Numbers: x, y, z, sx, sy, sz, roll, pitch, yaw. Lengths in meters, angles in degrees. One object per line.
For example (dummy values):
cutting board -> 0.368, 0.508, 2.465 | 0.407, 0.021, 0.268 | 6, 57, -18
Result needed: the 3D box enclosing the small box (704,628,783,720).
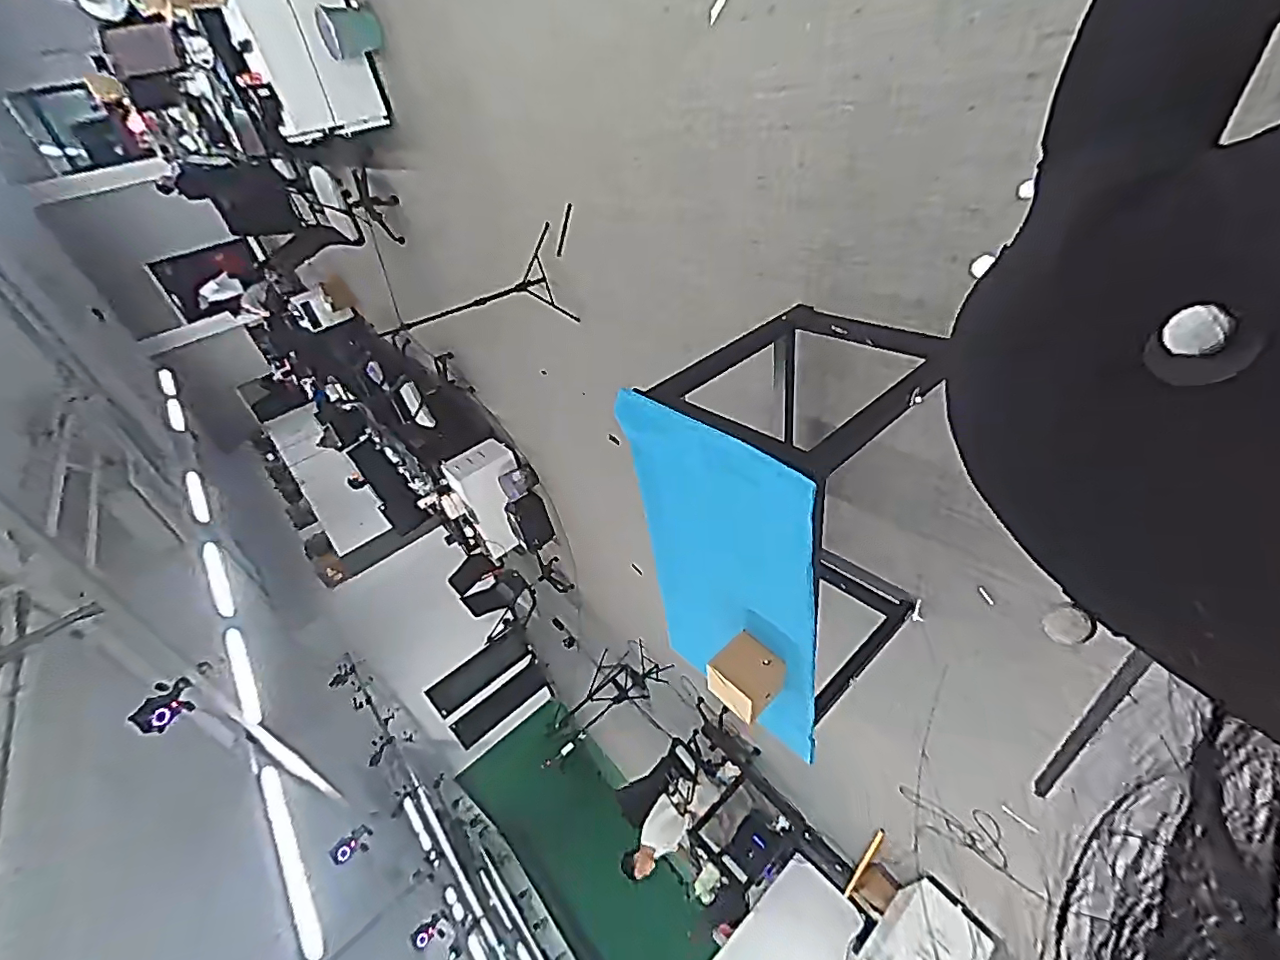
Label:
small box -> 0.321, 0.608, 1.689 | 0.179, 0.176, 0.168 | 33, 145, 37
